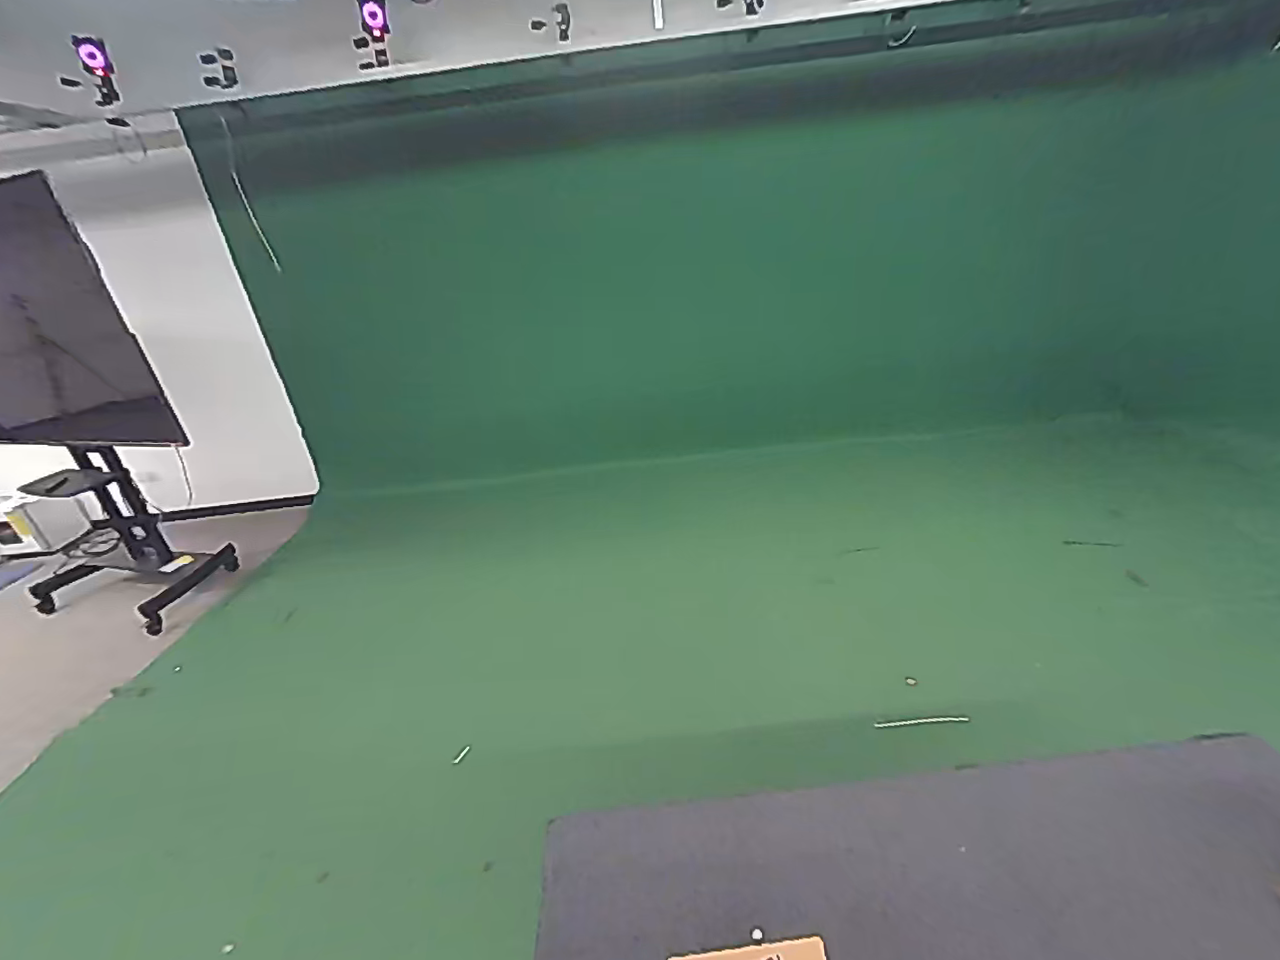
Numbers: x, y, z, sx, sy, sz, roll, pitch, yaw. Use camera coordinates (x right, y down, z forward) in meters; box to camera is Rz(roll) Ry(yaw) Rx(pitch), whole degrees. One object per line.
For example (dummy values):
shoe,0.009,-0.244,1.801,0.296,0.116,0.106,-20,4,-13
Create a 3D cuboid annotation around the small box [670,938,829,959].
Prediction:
small box,0.125,0.601,0.559,0.168,0.176,0.179,-7,46,-1
